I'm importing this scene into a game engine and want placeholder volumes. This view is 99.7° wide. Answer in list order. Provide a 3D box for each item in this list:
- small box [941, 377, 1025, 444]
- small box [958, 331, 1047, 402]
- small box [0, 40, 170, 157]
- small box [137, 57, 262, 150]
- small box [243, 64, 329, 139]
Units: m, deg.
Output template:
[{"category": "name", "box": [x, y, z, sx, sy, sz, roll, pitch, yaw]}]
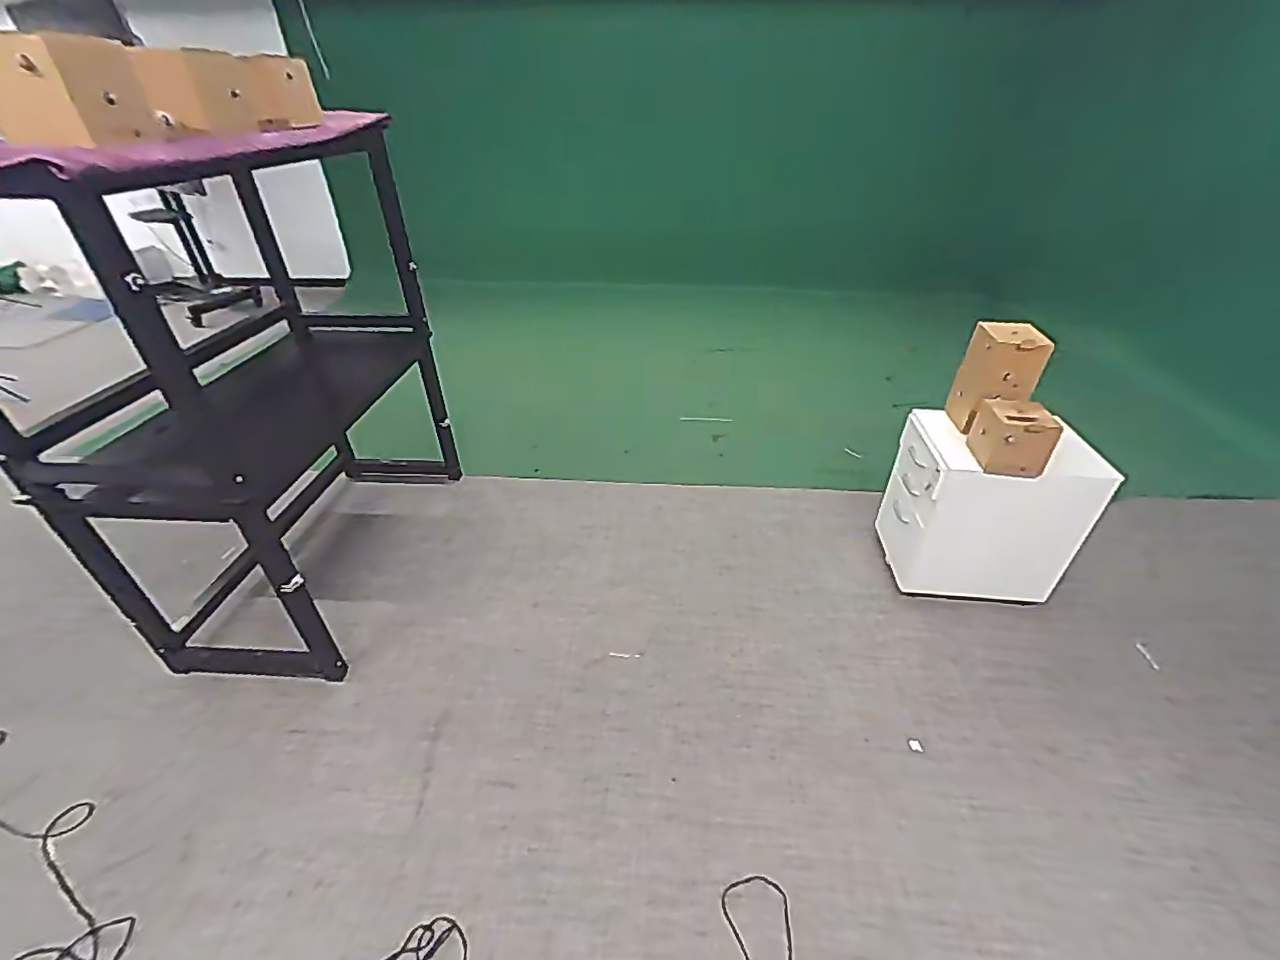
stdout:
[{"category": "small box", "box": [1.180, -0.242, 1.878, 0.168, 0.176, 0.179, 3, 35, 4]}, {"category": "small box", "box": [1.183, -0.375, 1.783, 0.168, 0.176, 0.179, 5, 37, 5]}, {"category": "small box", "box": [-1.059, -0.715, 1.022, 0.179, 0.176, 0.168, 2, 34, 2]}, {"category": "small box", "box": [-1.047, -0.895, 1.288, 0.168, 0.176, 0.179, 1, 36, 2]}, {"category": "small box", "box": [-1.048, -1.097, 1.572, 0.168, 0.176, 0.179, 1, 35, 5]}]
